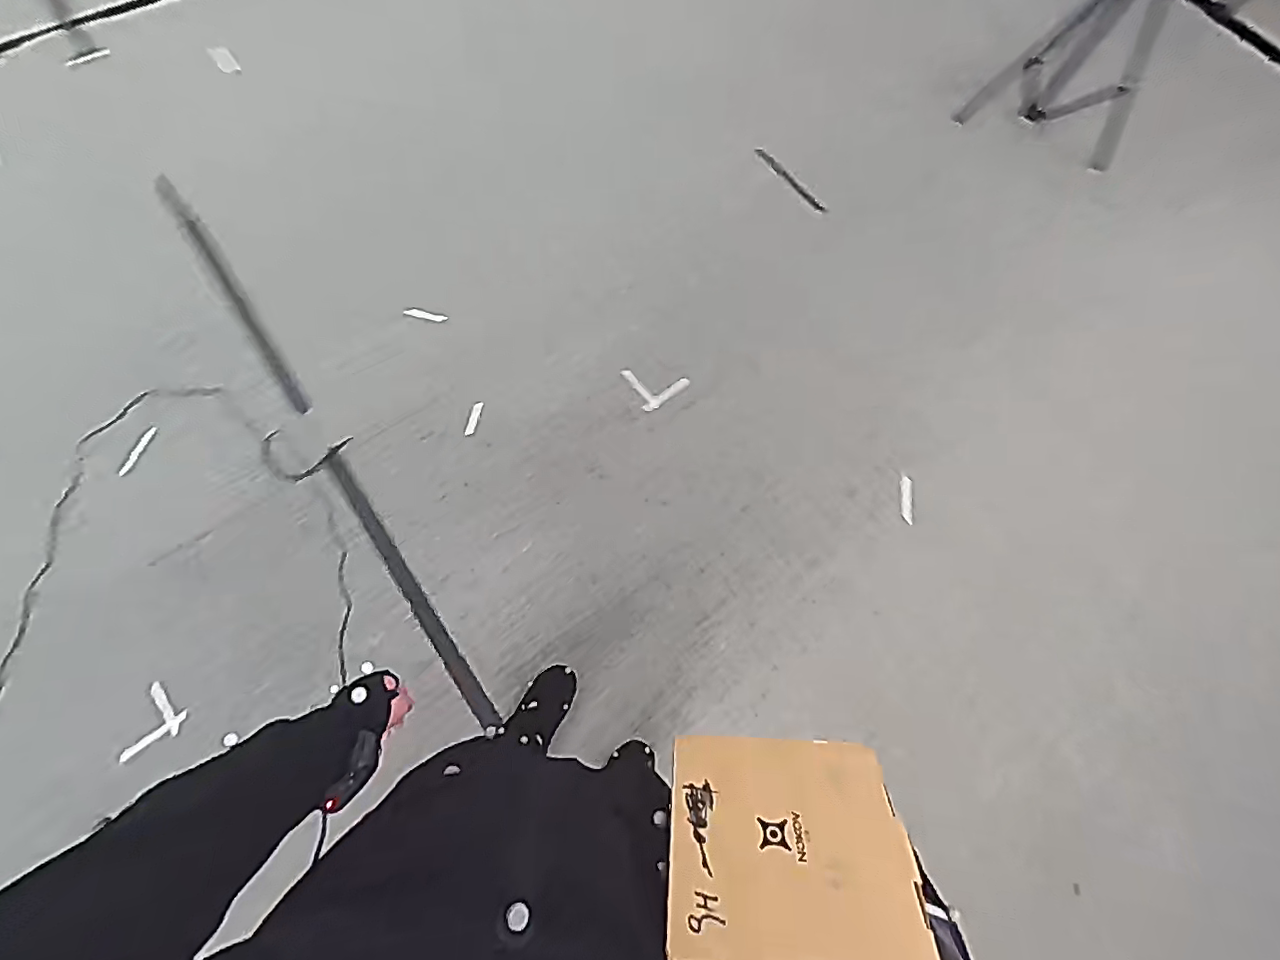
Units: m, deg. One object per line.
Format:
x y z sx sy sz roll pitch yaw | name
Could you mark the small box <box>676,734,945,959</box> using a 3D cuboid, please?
0.120 0.345 0.458 0.179 0.176 0.168 0 28 5 | small box
